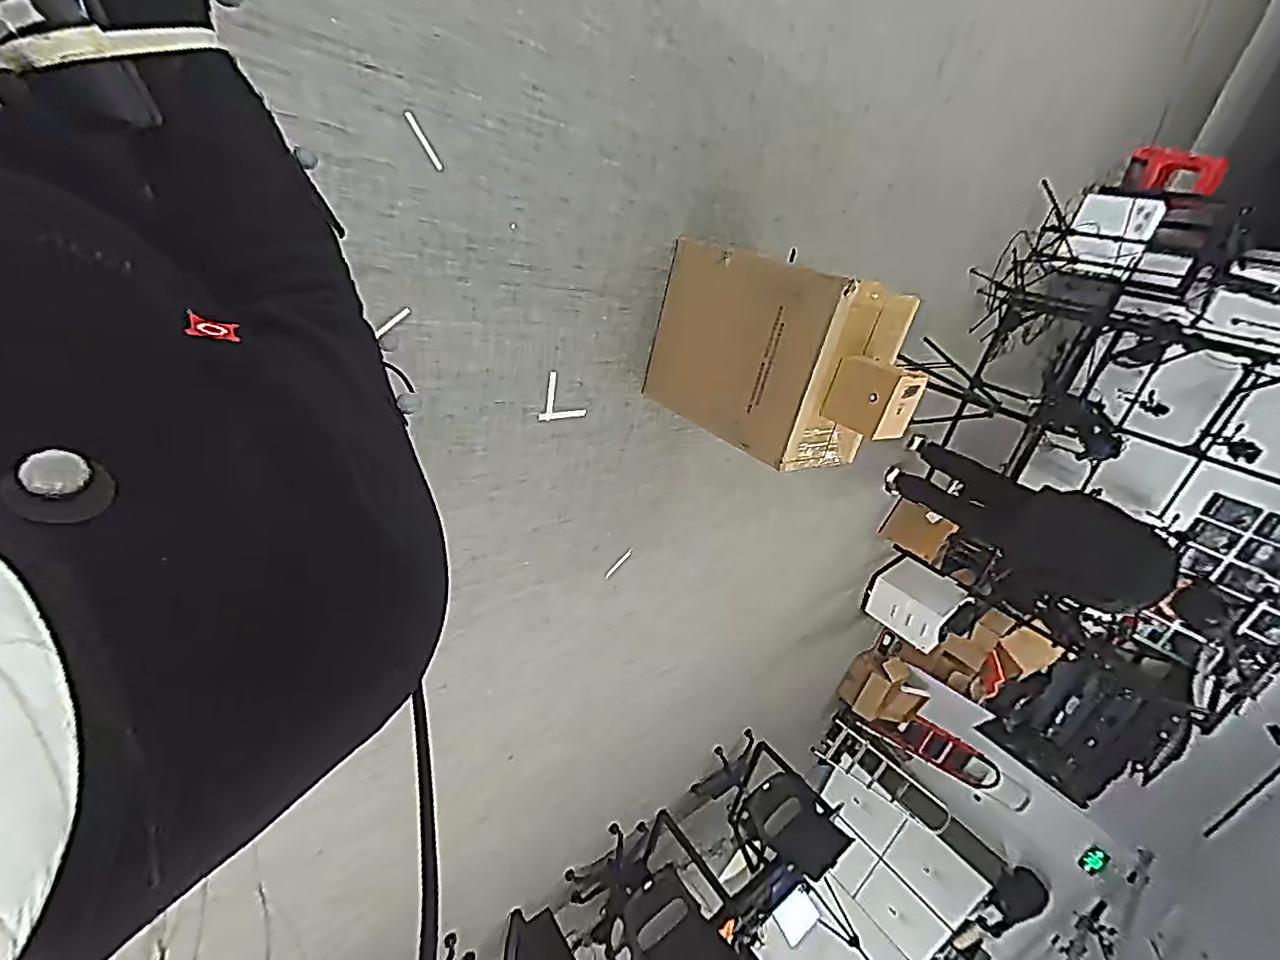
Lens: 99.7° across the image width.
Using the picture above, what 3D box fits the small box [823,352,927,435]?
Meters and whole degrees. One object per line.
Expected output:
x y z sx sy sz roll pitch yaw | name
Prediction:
0.622 -0.235 1.449 0.168 0.176 0.179 -6 122 -40 | small box
